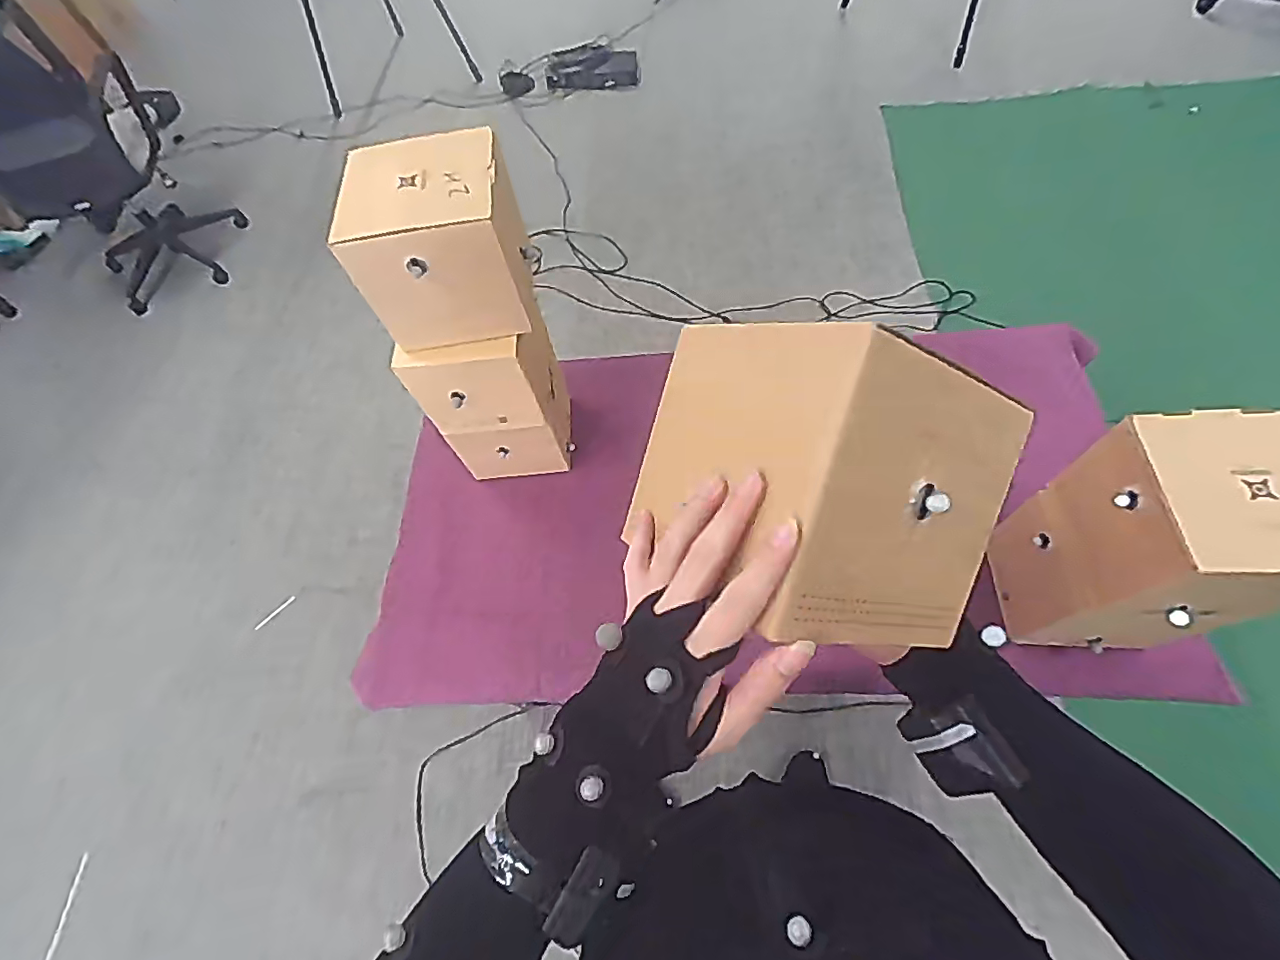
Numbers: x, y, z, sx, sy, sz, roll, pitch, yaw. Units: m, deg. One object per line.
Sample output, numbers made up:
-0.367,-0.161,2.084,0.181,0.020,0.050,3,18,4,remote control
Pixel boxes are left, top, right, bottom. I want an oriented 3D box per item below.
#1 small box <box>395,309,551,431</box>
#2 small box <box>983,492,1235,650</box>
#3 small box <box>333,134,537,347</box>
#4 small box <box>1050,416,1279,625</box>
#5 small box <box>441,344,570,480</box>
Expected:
-0.231,-0.184,0.800,0.168,0.176,0.179,-5,62,3,small box
0.608,0.129,0.731,0.179,0.176,0.168,1,61,7,small box
-0.235,-0.283,0.666,0.179,0.176,0.168,-8,62,1,small box
0.594,0.048,0.590,0.168,0.176,0.179,0,62,8,small box
-0.222,-0.114,0.945,0.179,0.176,0.168,-6,62,3,small box
